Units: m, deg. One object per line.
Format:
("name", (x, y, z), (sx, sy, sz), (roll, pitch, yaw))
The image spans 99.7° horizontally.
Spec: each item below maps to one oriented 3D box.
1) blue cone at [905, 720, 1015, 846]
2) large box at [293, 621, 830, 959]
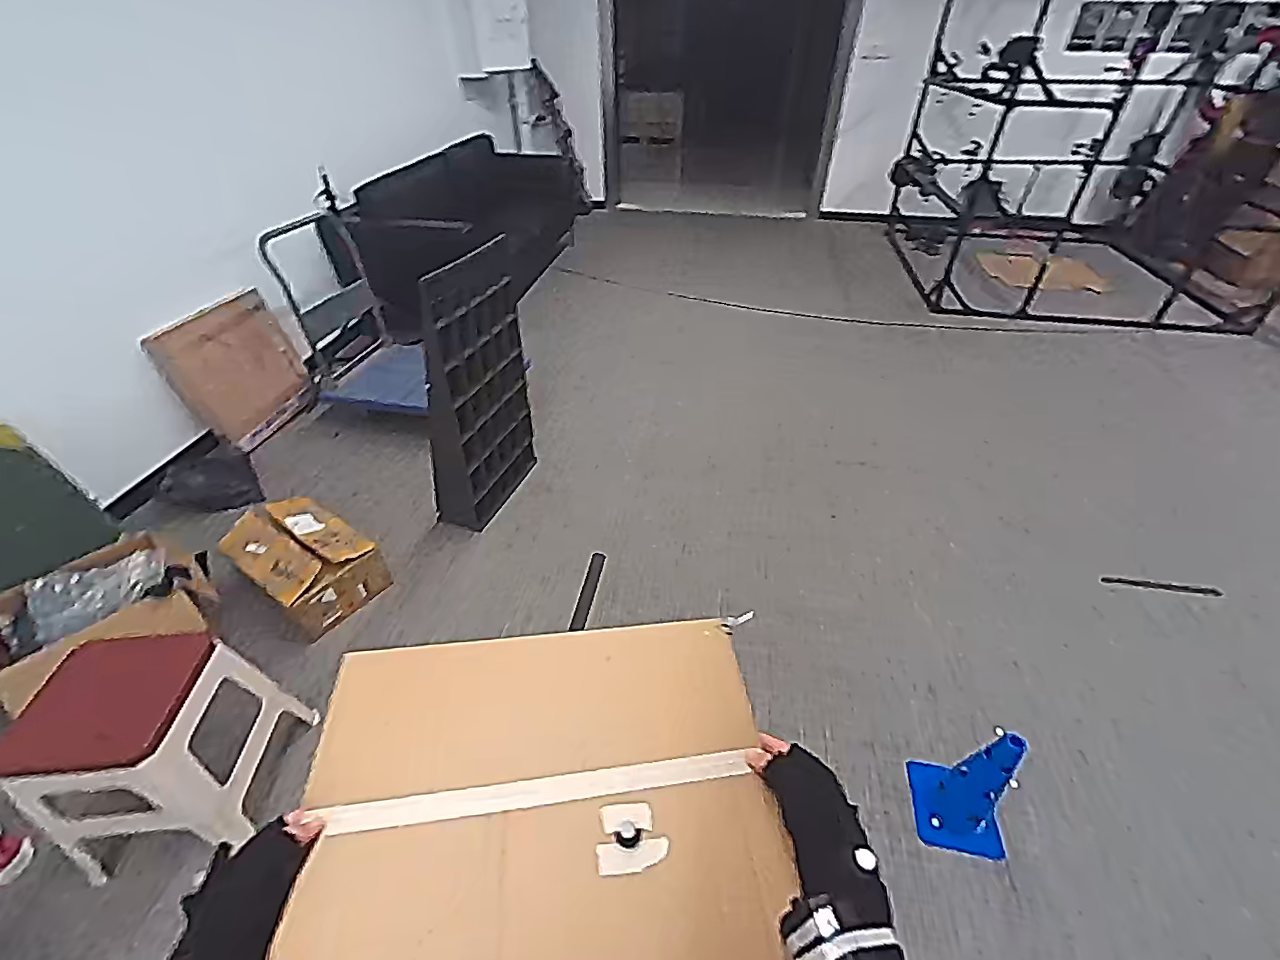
("blue cone", (0.791, 0.690, 1.281), (0.193, 0.380, 0.192), (9, 39, 10))
("large box", (-0.080, 0.384, 0.588), (0.408, 0.320, 0.320), (-2, 44, -8))
